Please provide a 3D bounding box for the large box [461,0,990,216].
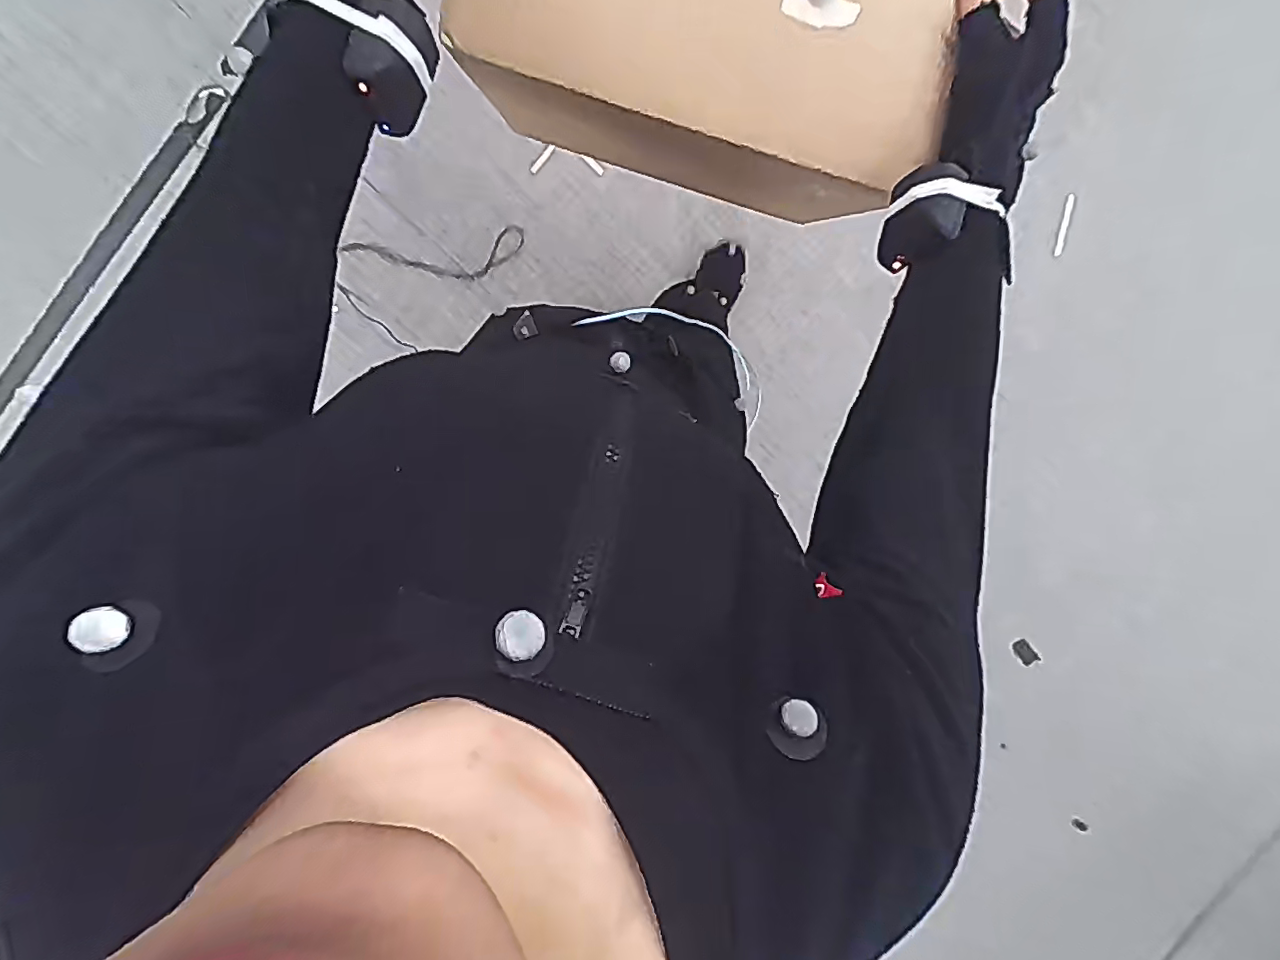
[{"bbox_3d":[0.078,-0.486,0.531,0.408,0.320,0.320,13,112,-9],"label":"large box"}]
